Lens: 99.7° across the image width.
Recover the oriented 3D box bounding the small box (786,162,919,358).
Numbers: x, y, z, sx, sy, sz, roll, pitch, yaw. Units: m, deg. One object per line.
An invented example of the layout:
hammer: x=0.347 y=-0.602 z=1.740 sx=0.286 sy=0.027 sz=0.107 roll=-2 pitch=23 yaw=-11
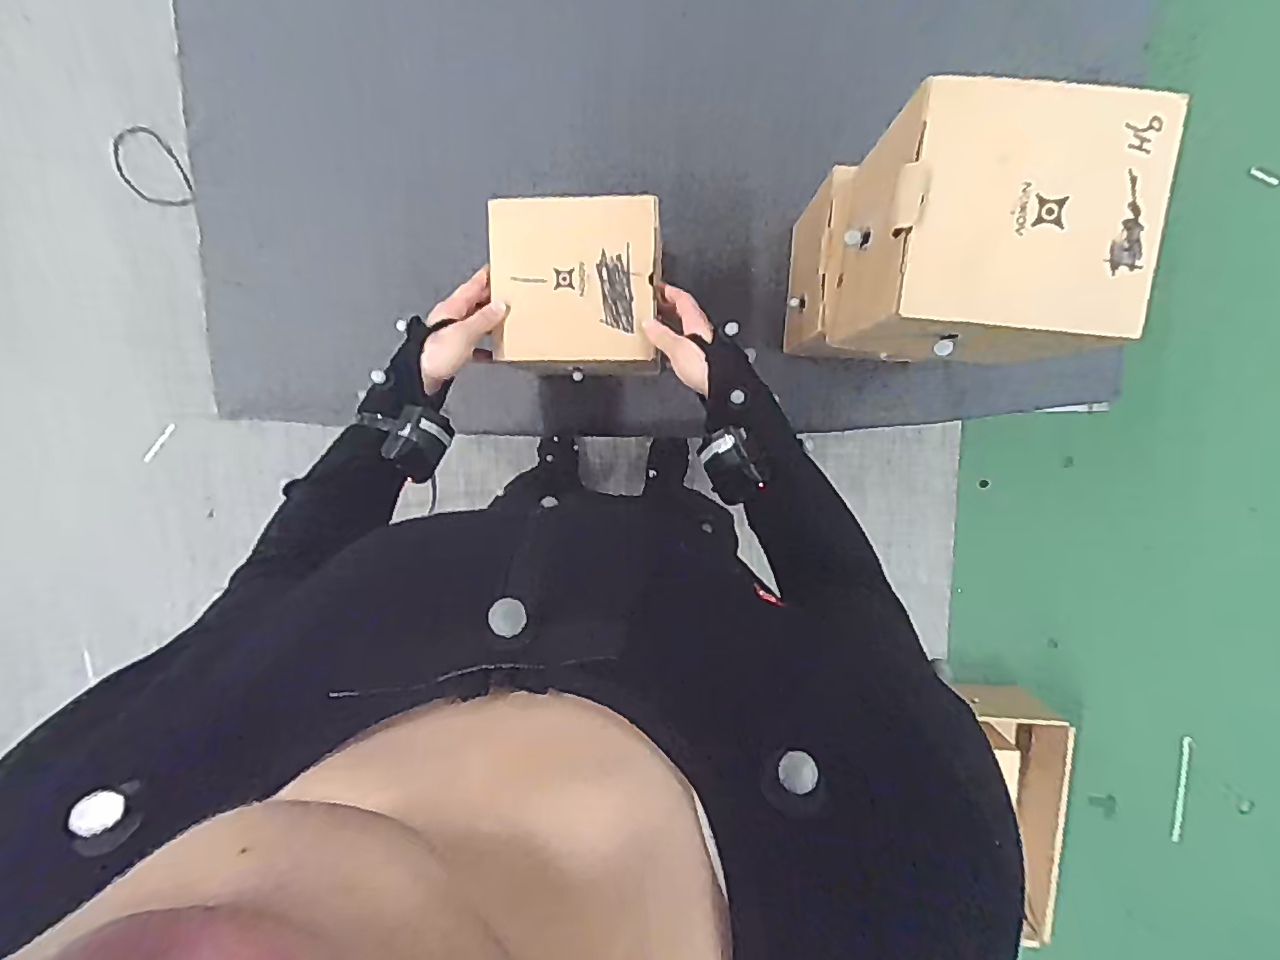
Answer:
small box: x=0.271 y=-0.231 z=0.608 sx=0.179 sy=0.176 sz=0.168 roll=3 pitch=97 yaw=1

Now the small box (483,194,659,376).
small box: x=-0.067 y=-0.212 z=0.626 sx=0.179 sy=0.176 sz=0.168 roll=1 pitch=96 yaw=4

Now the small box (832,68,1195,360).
small box: x=0.275 y=-0.196 z=0.447 sx=0.179 sy=0.176 sz=0.168 roll=6 pitch=97 yaw=2

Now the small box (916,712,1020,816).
small box: x=0.828 y=0.717 z=1.381 sx=0.168 sy=0.176 sz=0.179 roll=1 pitch=98 yaw=4
